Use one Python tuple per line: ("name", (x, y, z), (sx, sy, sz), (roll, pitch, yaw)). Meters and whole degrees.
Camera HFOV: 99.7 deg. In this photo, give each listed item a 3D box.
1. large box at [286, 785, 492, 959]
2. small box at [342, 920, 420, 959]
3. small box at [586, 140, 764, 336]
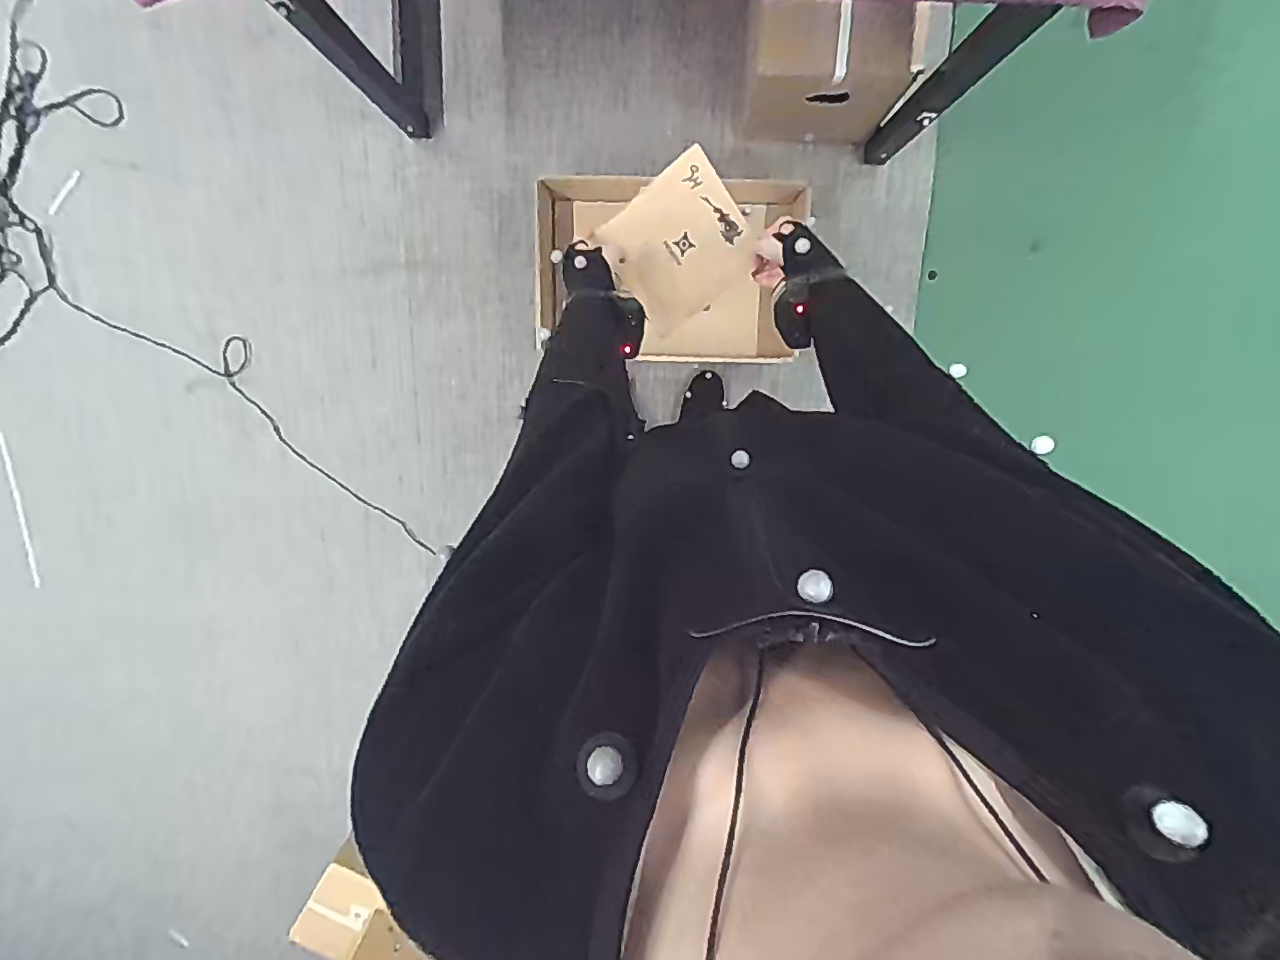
("large box", (-0.727, 1.224, 1.624), (0.408, 0.320, 0.320), (32, 100, -3))
("small box", (-0.702, 1.302, 1.390), (0.168, 0.176, 0.179), (36, 101, -5))
("small box", (0.054, -0.332, 0.760), (0.179, 0.176, 0.168), (-32, 107, 20))
